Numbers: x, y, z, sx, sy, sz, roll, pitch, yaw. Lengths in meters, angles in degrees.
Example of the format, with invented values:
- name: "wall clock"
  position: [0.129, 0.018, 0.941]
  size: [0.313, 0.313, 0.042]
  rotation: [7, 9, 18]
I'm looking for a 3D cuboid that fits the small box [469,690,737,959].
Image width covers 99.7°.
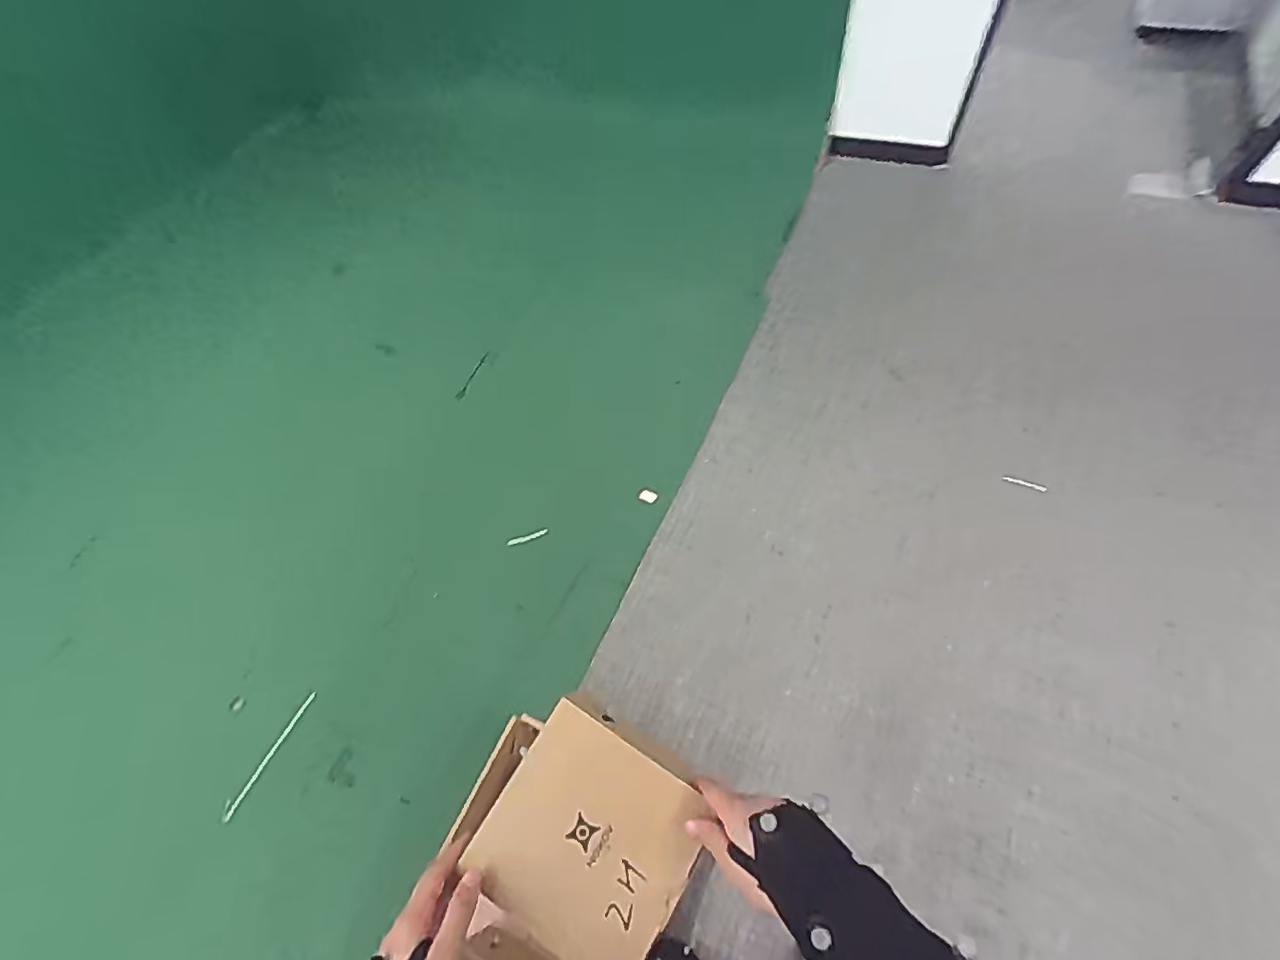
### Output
- name: "small box"
  position: [-0.029, 0.329, 0.536]
  size: [0.179, 0.176, 0.168]
  rotation: [31, 75, 11]
